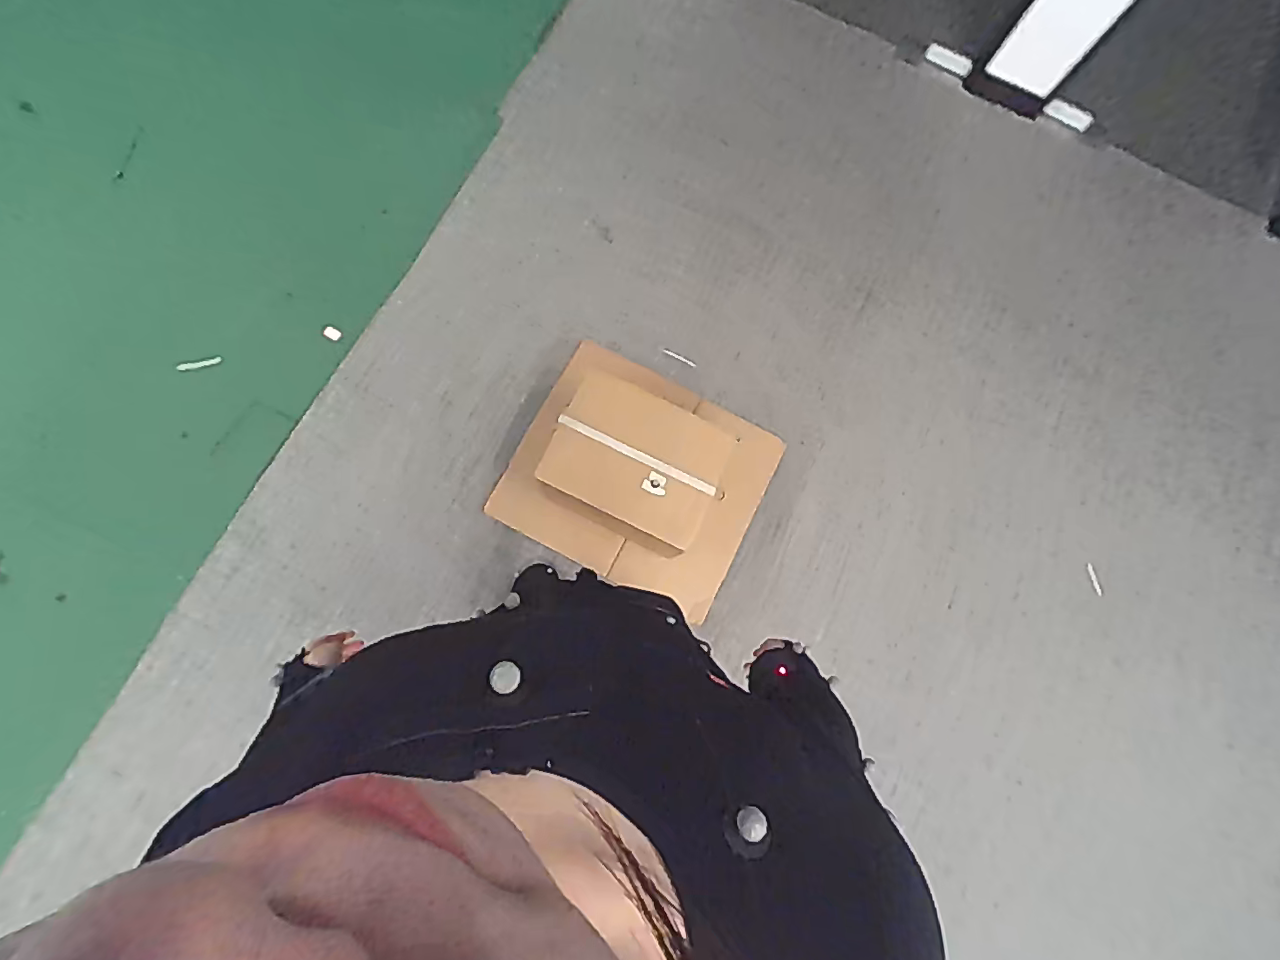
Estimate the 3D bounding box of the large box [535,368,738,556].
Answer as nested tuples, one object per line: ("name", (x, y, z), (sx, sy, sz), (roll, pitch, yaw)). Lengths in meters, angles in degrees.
("large box", (-0.018, -0.028, 1.417), (0.408, 0.320, 0.320), (26, 78, 0))
